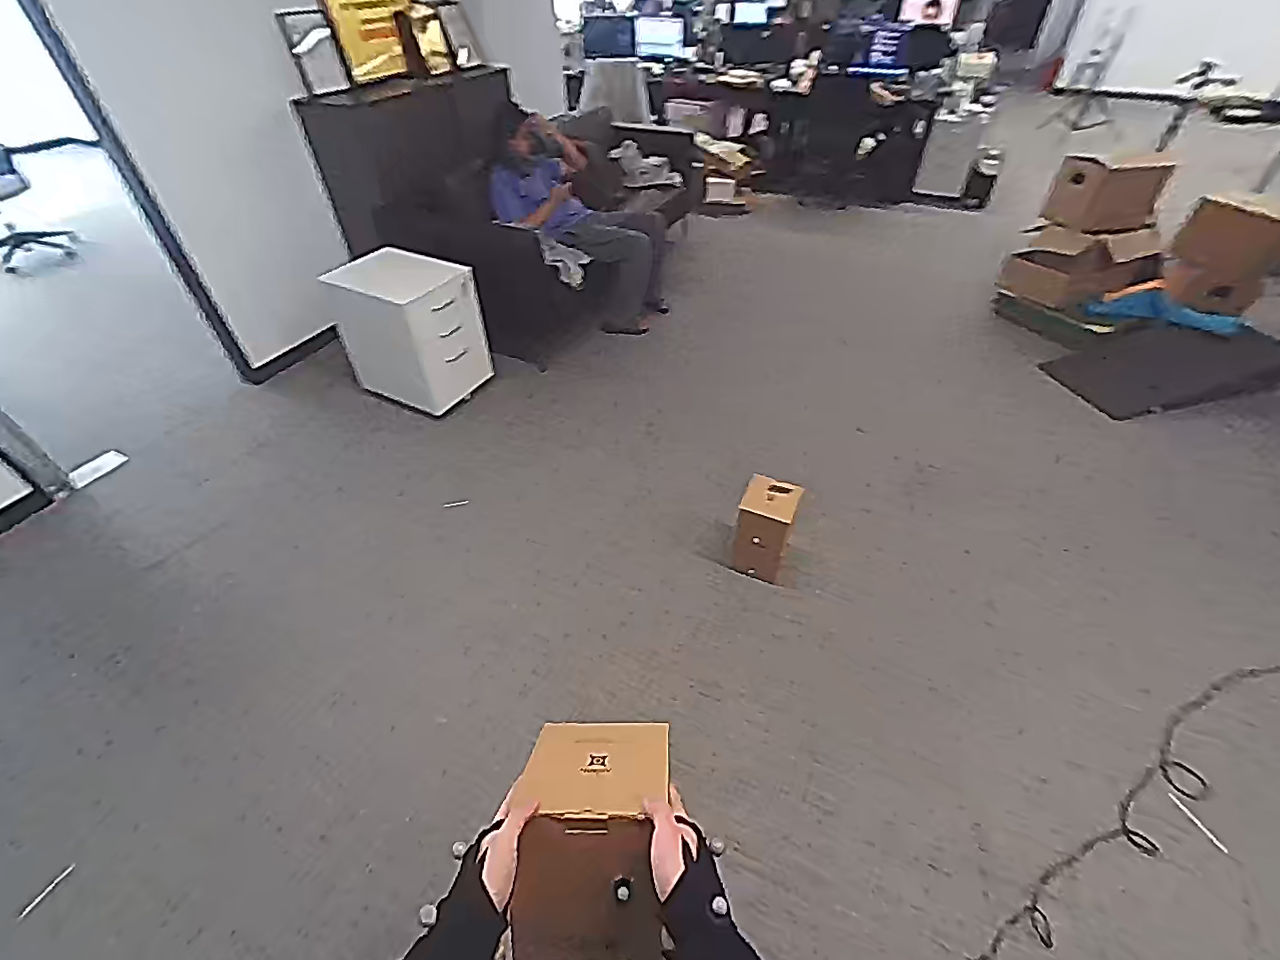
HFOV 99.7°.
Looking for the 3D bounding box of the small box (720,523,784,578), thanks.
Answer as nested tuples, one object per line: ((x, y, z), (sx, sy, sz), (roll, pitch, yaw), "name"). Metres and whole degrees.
((0.396, 0.226, 1.930), (0.179, 0.176, 0.168), (17, 47, 17), "small box")

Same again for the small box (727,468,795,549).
((0.397, 0.096, 1.797), (0.168, 0.176, 0.179), (20, 47, 21), "small box")
